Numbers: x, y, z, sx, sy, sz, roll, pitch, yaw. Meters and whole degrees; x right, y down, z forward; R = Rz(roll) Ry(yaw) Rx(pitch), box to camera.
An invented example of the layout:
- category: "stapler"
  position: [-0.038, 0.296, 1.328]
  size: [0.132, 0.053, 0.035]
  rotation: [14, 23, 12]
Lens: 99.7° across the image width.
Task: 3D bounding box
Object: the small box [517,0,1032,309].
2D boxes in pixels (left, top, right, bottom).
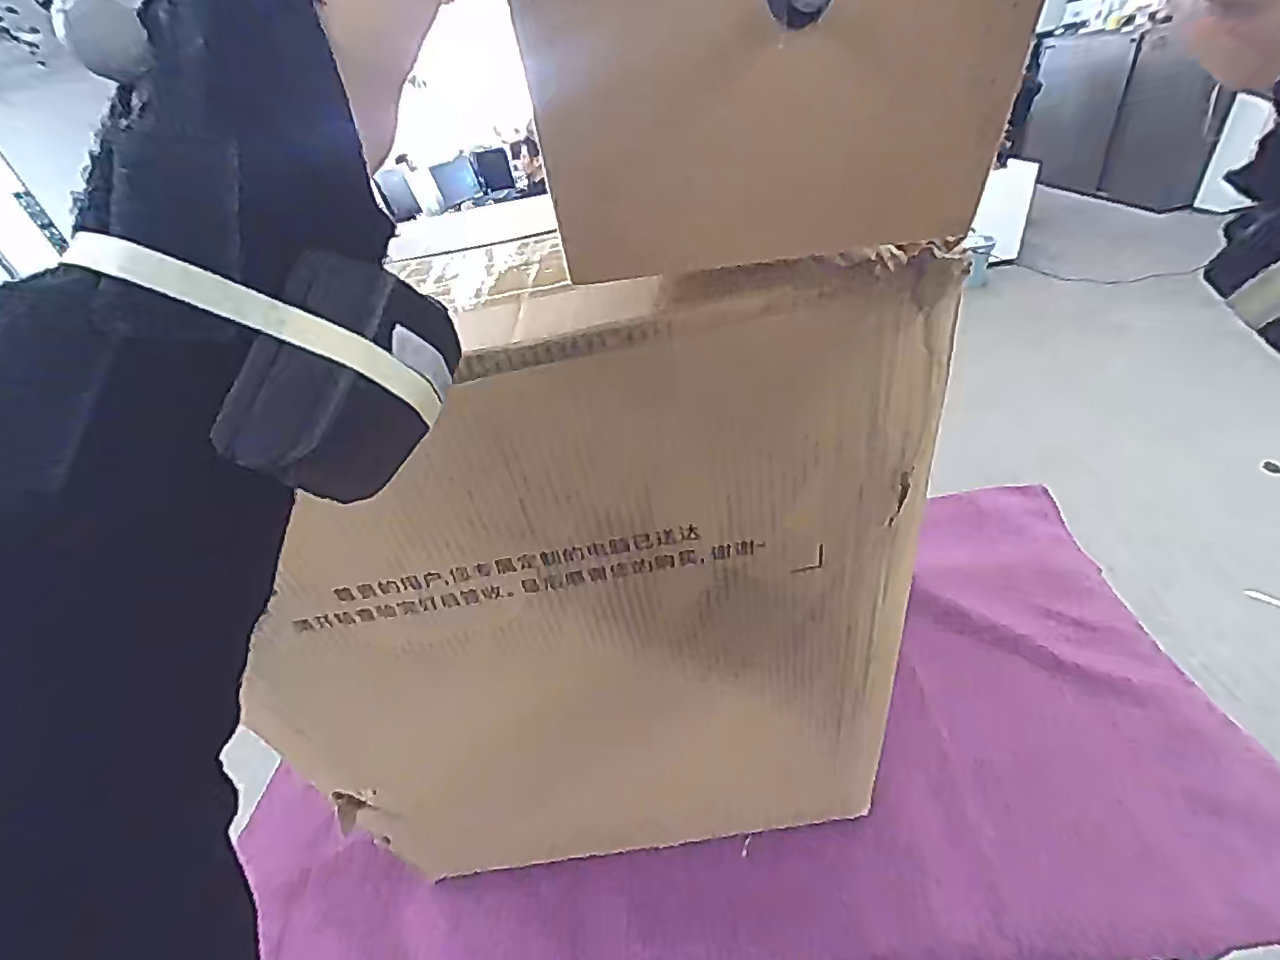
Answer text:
- category: "small box"
  position: [0.041, -0.200, 0.229]
  size: [0.168, 0.176, 0.179]
  rotation: [-6, 47, 3]
